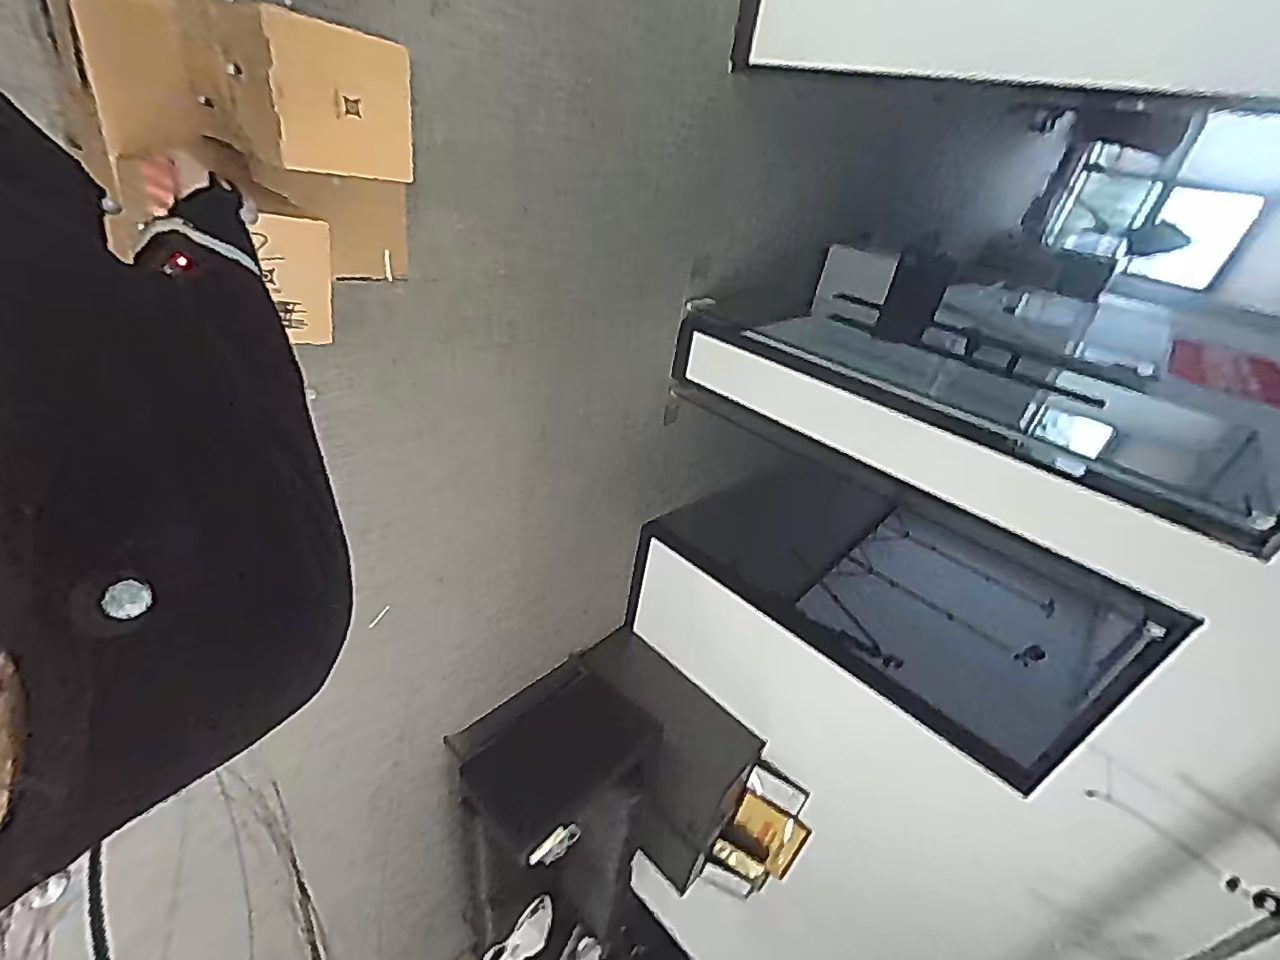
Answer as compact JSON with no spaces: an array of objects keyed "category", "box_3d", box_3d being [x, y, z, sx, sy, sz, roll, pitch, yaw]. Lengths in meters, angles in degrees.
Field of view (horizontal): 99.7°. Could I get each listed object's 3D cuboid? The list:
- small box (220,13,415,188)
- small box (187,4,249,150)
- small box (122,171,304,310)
[{"category":"small box","box_3d":[-0.437,-0.518,0.747,0.179,0.176,0.168,-22,134,-44]},{"category":"small box","box_3d":[-0.557,-0.592,0.828,0.179,0.176,0.168,-23,134,-46]},{"category":"small box","box_3d":[-0.666,-0.375,0.855,0.179,0.176,0.168,-21,133,-47]}]
